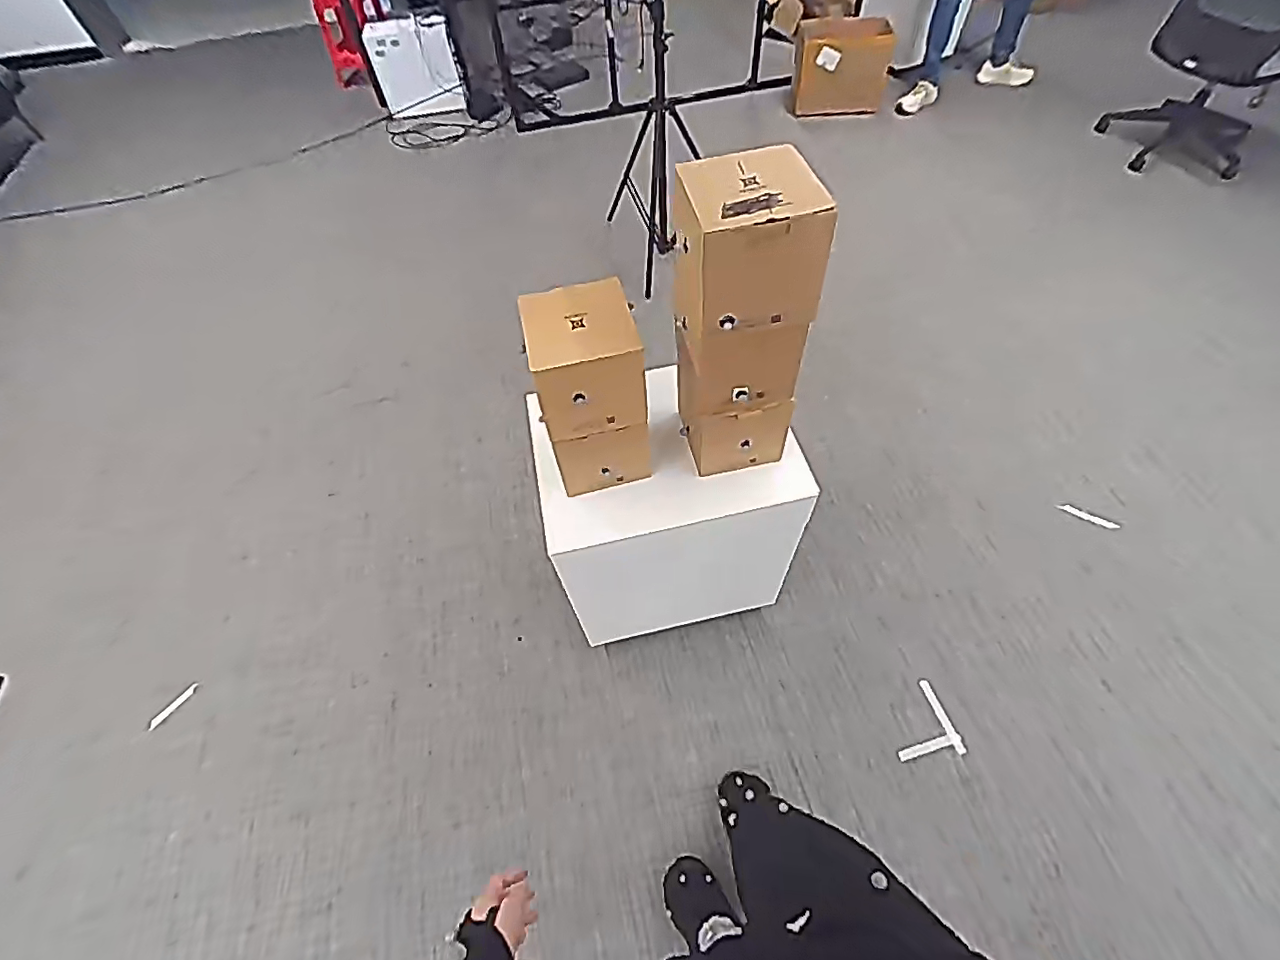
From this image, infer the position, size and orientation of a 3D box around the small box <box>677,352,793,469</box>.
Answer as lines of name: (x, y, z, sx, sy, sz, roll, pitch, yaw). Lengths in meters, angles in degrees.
small box: (0.169, -0.137, 1.015, 0.168, 0.176, 0.179, -12, 58, -4)

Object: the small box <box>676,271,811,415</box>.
small box: (0.156, -0.234, 0.885, 0.168, 0.176, 0.179, -12, 57, -2)

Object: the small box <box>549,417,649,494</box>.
small box: (-0.083, -0.101, 1.009, 0.168, 0.176, 0.179, -14, 57, -5)

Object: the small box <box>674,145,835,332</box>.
small box: (0.147, -0.323, 0.747, 0.168, 0.176, 0.179, -11, 55, -1)

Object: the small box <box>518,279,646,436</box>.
small box: (-0.089, -0.189, 0.873, 0.168, 0.176, 0.179, -13, 56, -5)
